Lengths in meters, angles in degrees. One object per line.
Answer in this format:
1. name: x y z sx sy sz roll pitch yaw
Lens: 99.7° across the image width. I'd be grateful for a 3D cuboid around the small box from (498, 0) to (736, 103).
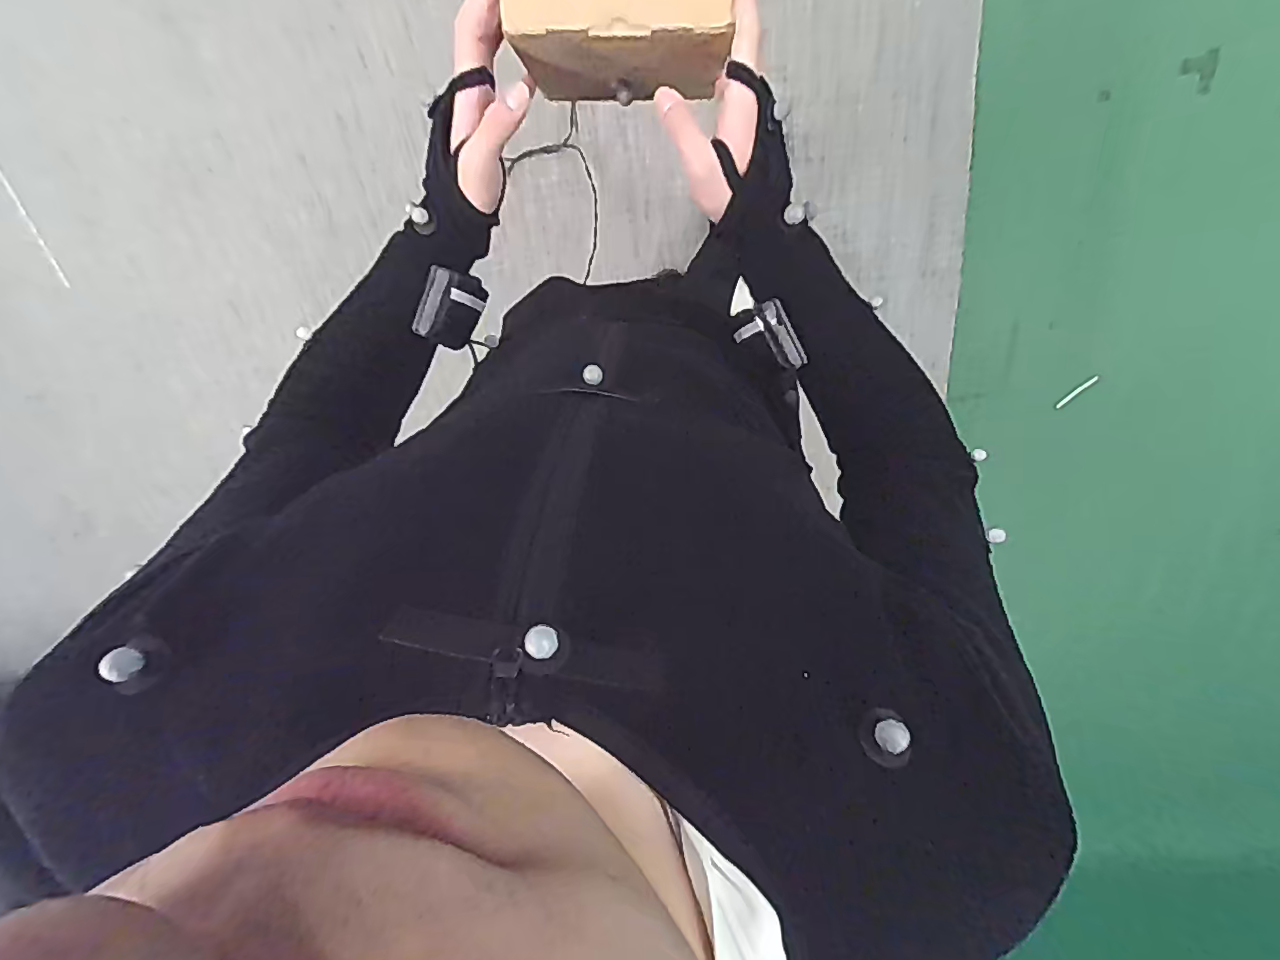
1. small box: -0.013 -0.423 0.421 0.168 0.176 0.179 1 111 2
